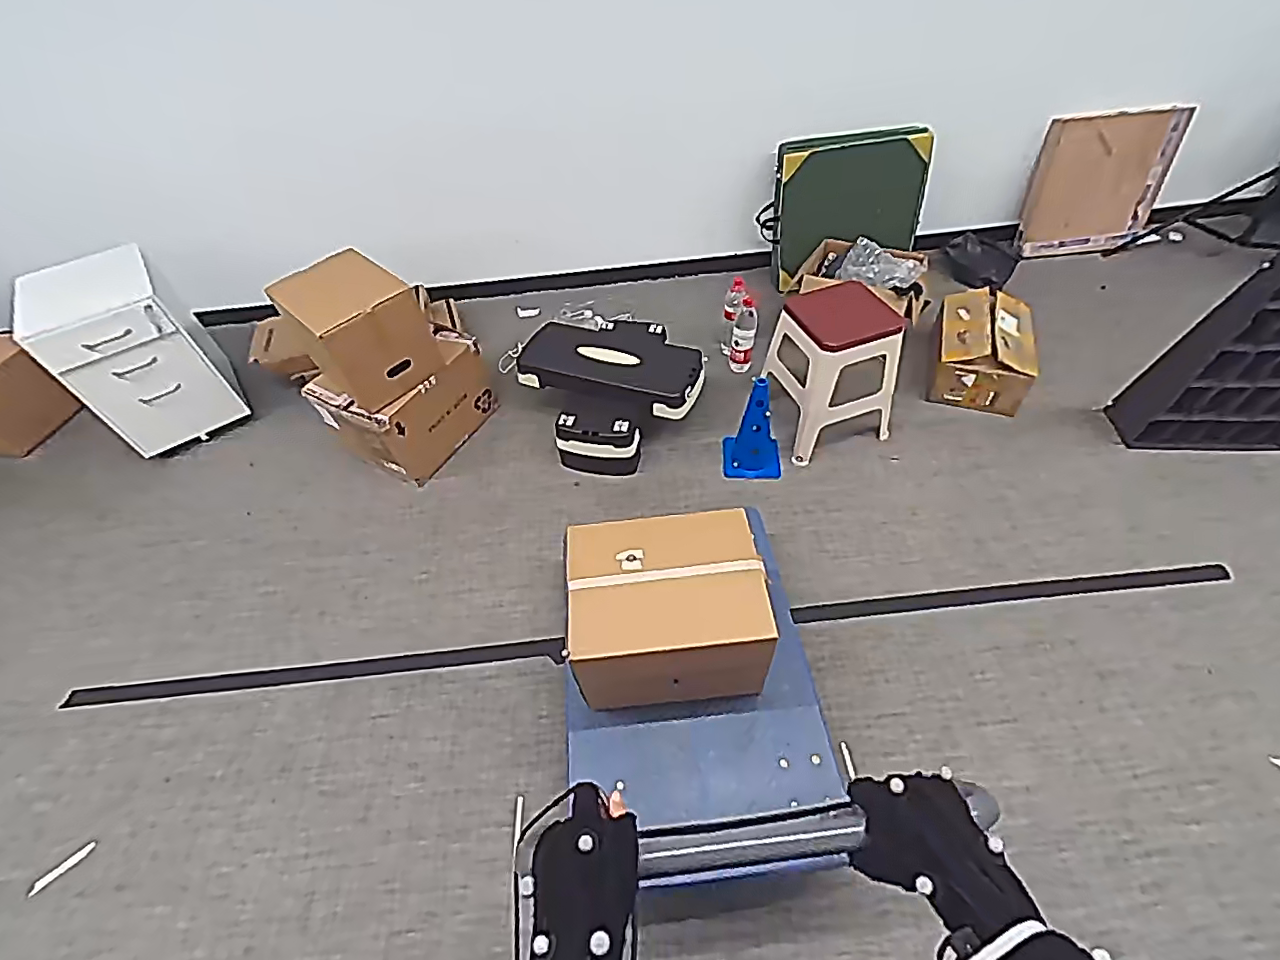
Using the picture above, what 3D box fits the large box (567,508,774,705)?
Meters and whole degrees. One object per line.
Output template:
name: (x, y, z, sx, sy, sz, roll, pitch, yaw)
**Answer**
large box: (0.059, 0.297, 1.242, 0.408, 0.320, 0.320, -7, 50, 0)
